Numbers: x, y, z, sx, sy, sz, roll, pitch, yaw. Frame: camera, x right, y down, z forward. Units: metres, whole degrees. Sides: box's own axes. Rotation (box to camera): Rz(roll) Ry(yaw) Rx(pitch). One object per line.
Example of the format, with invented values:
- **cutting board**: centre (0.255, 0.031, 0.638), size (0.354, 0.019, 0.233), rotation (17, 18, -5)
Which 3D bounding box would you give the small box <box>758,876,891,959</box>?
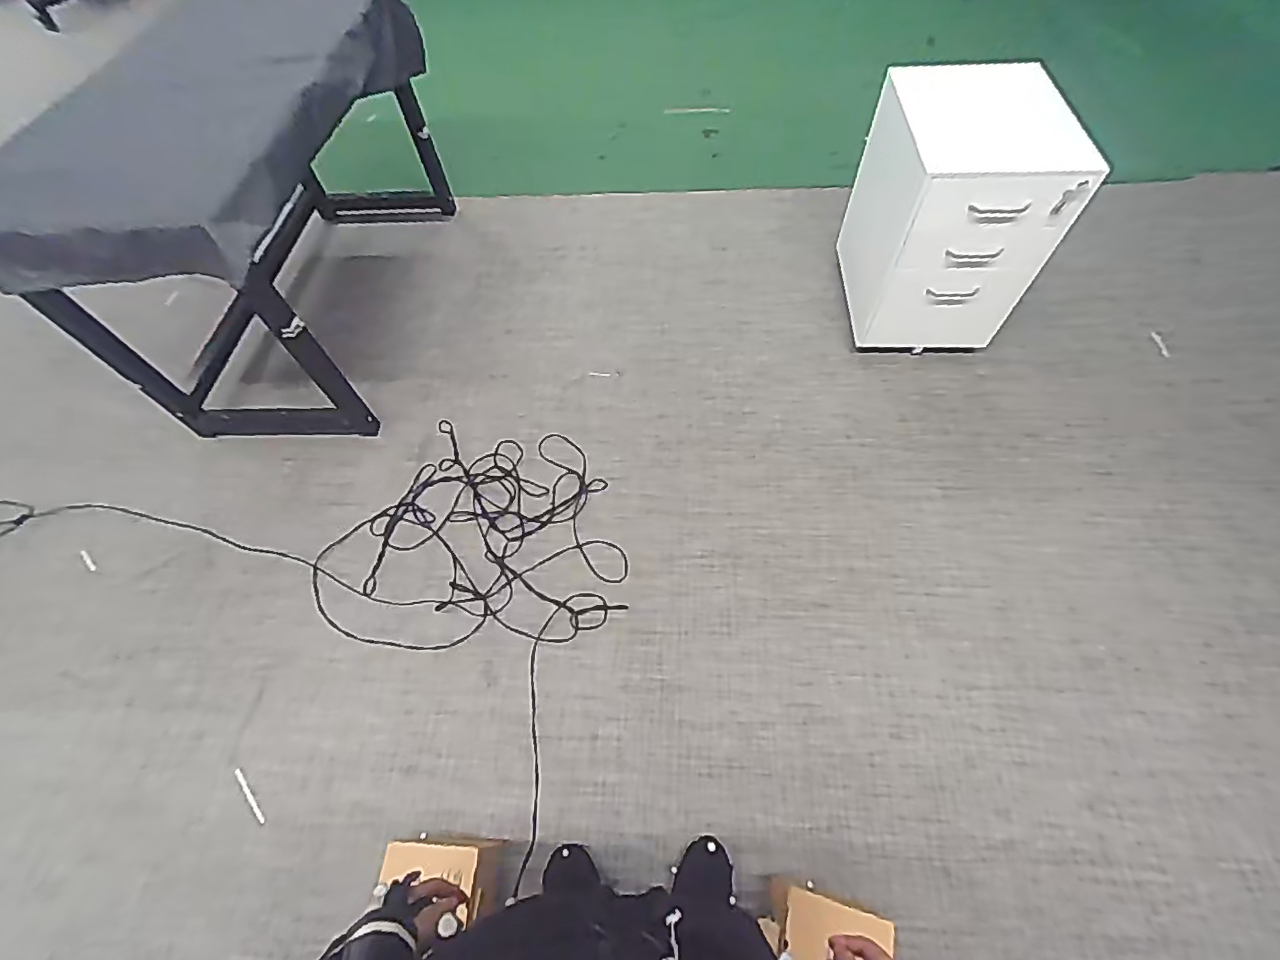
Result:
- **small box**: centre (0.317, 0.825, 0.949), size (0.179, 0.176, 0.168), rotation (12, 62, 10)
